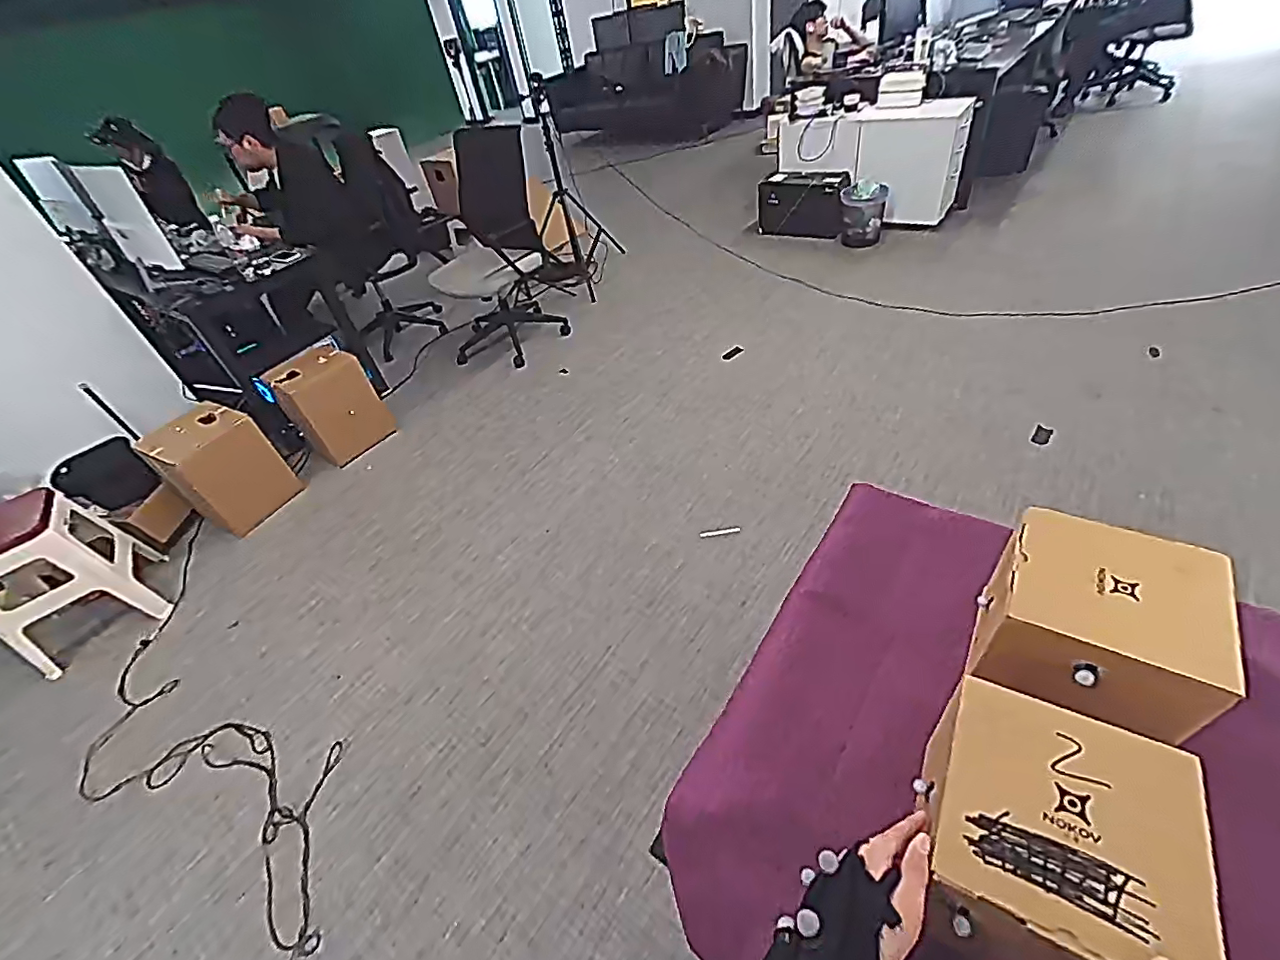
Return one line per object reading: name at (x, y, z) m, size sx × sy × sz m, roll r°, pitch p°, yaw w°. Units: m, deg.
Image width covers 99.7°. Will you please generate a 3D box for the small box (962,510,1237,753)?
small box at (0.483, 0.167, 0.592) m, size 0.179 × 0.176 × 0.168 m, roll 18°, pitch 50°, yaw 29°
